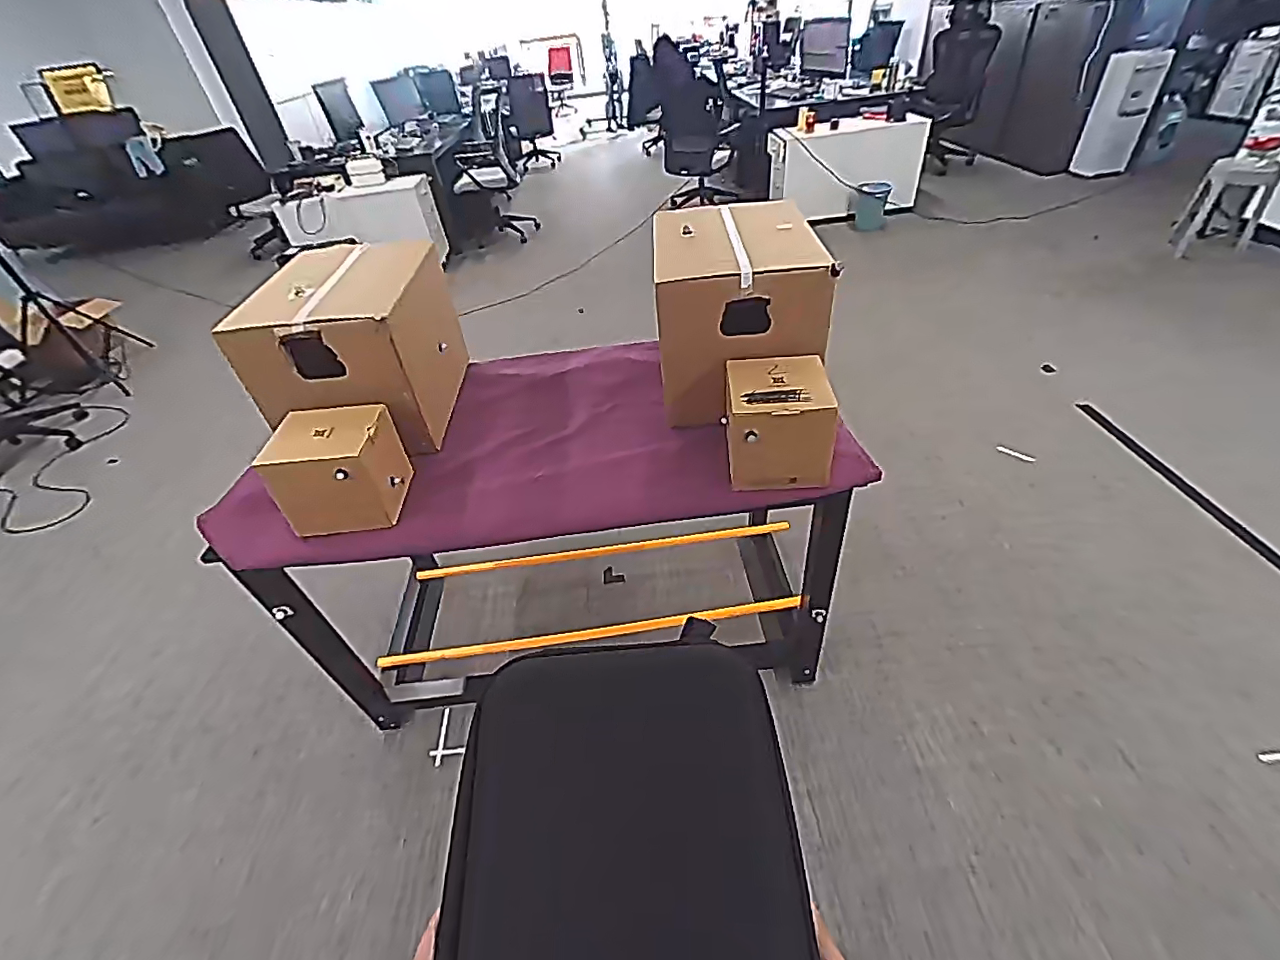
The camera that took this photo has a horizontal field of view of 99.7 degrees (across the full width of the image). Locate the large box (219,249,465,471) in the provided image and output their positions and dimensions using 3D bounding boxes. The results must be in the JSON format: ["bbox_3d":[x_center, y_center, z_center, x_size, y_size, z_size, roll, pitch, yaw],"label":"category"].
[{"bbox_3d":[-0.605,-0.275,1.201,0.320,0.320,0.408,-6,43,0],"label":"large box"}]
